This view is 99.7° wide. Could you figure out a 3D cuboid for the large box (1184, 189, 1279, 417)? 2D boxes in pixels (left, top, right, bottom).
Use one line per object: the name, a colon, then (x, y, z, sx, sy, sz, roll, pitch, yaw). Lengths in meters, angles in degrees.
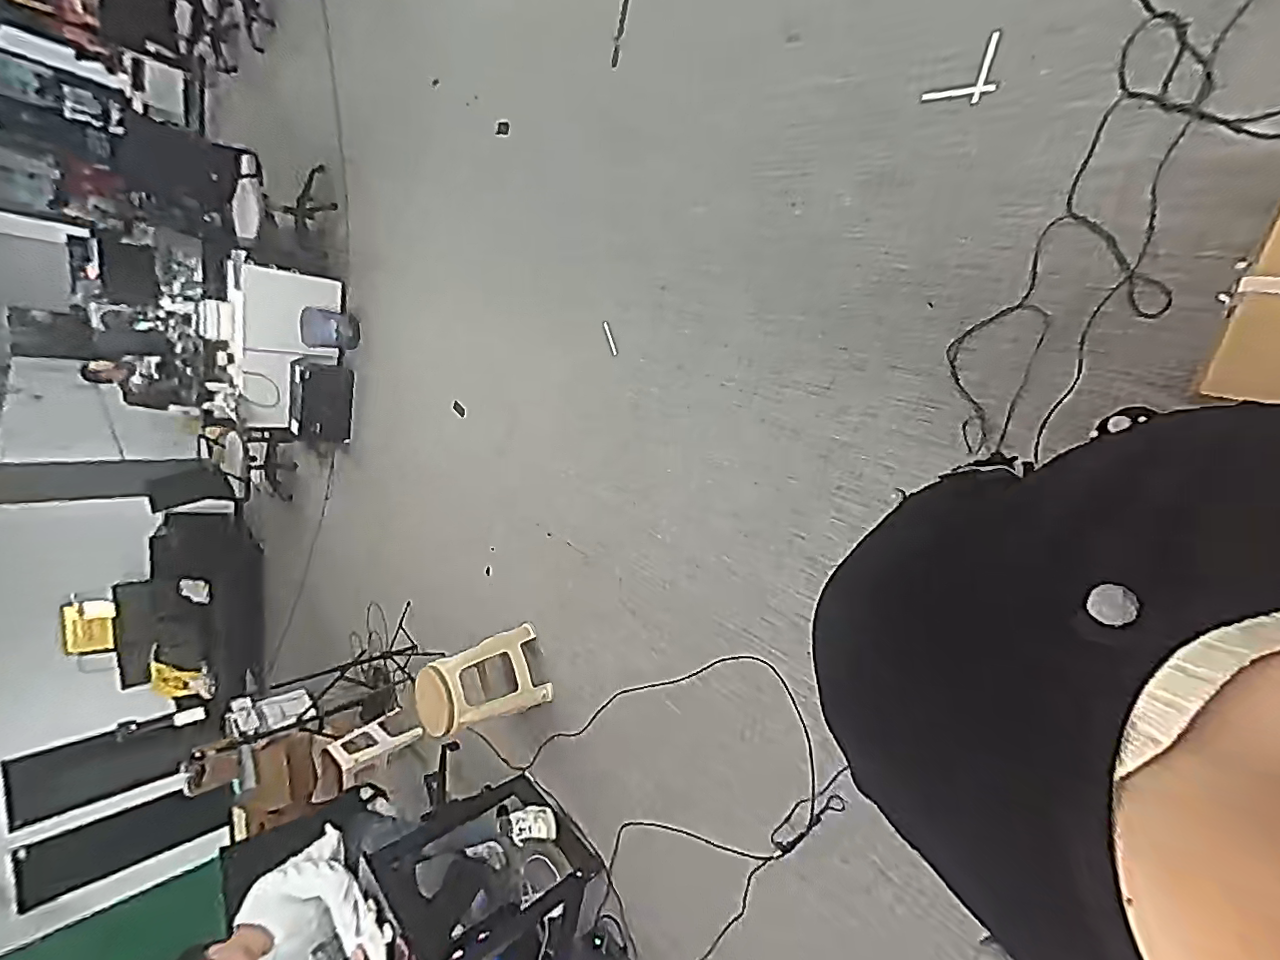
large box: (1.079, -0.224, 0.735, 0.408, 0.320, 0.320, 24, 110, 38)
